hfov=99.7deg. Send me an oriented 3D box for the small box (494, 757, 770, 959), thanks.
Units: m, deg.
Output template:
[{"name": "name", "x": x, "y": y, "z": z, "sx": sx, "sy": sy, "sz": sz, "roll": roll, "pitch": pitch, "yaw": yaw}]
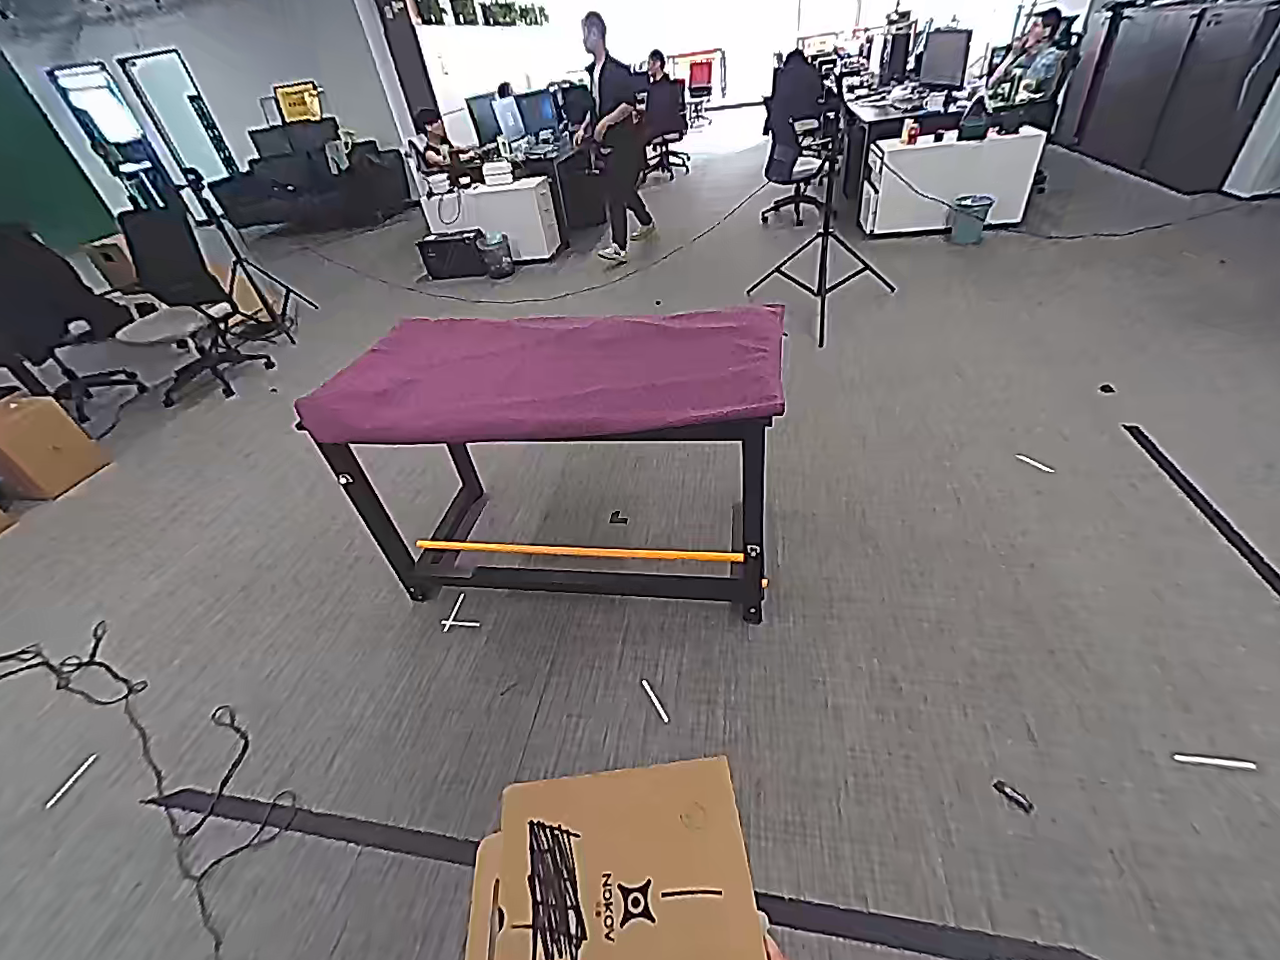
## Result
[{"name": "small box", "x": -0.003, "y": 0.339, "z": 0.415, "sx": 0.179, "sy": 0.176, "sz": 0.168, "roll": -7, "pitch": 43, "yaw": -2}]
